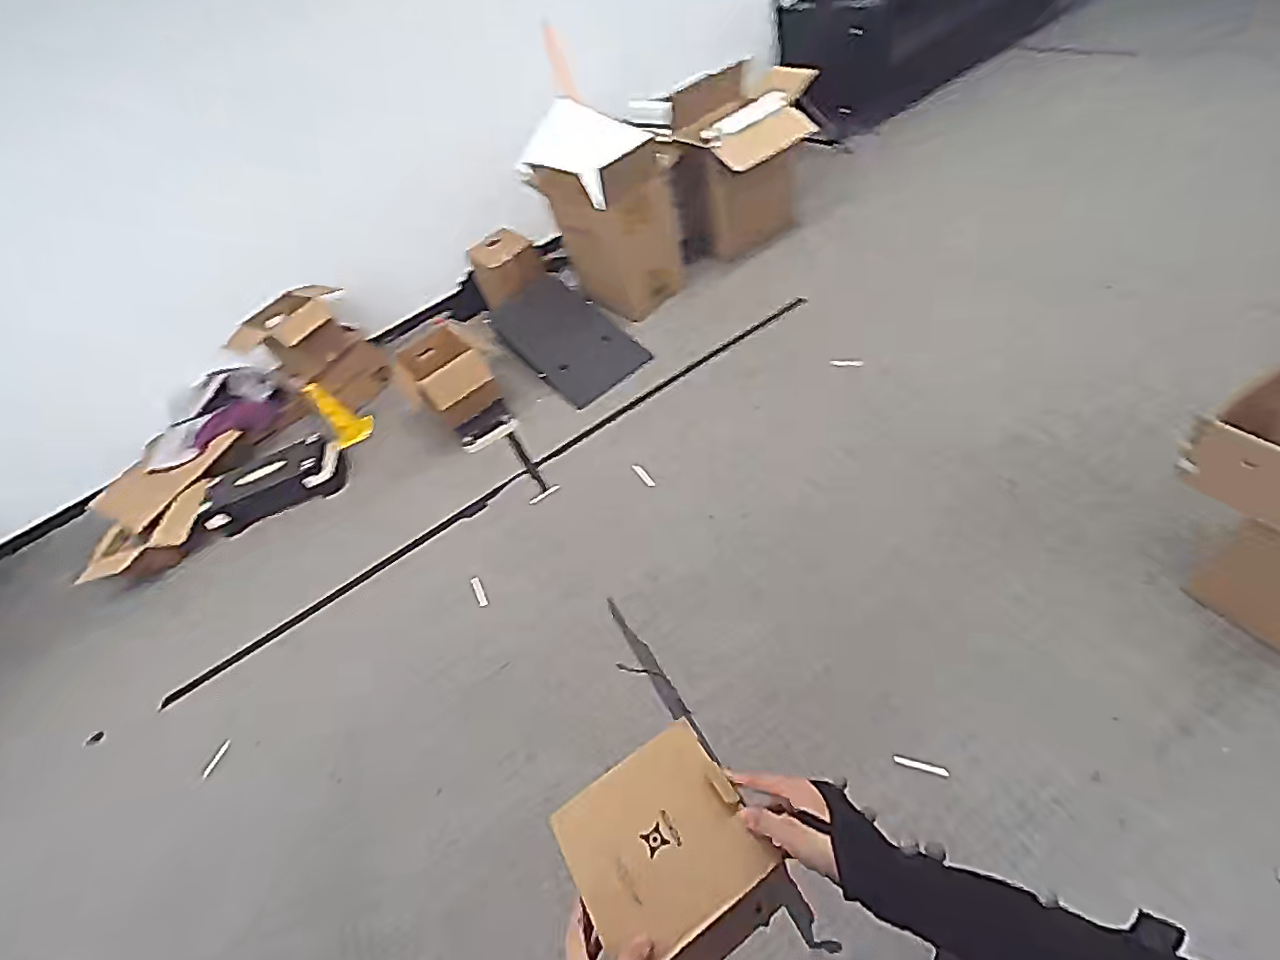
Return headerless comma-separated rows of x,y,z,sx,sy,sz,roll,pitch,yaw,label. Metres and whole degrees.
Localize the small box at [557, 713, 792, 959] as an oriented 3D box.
0.042,0.394,0.572,0.179,0.176,0.168,-31,42,-13,small box
